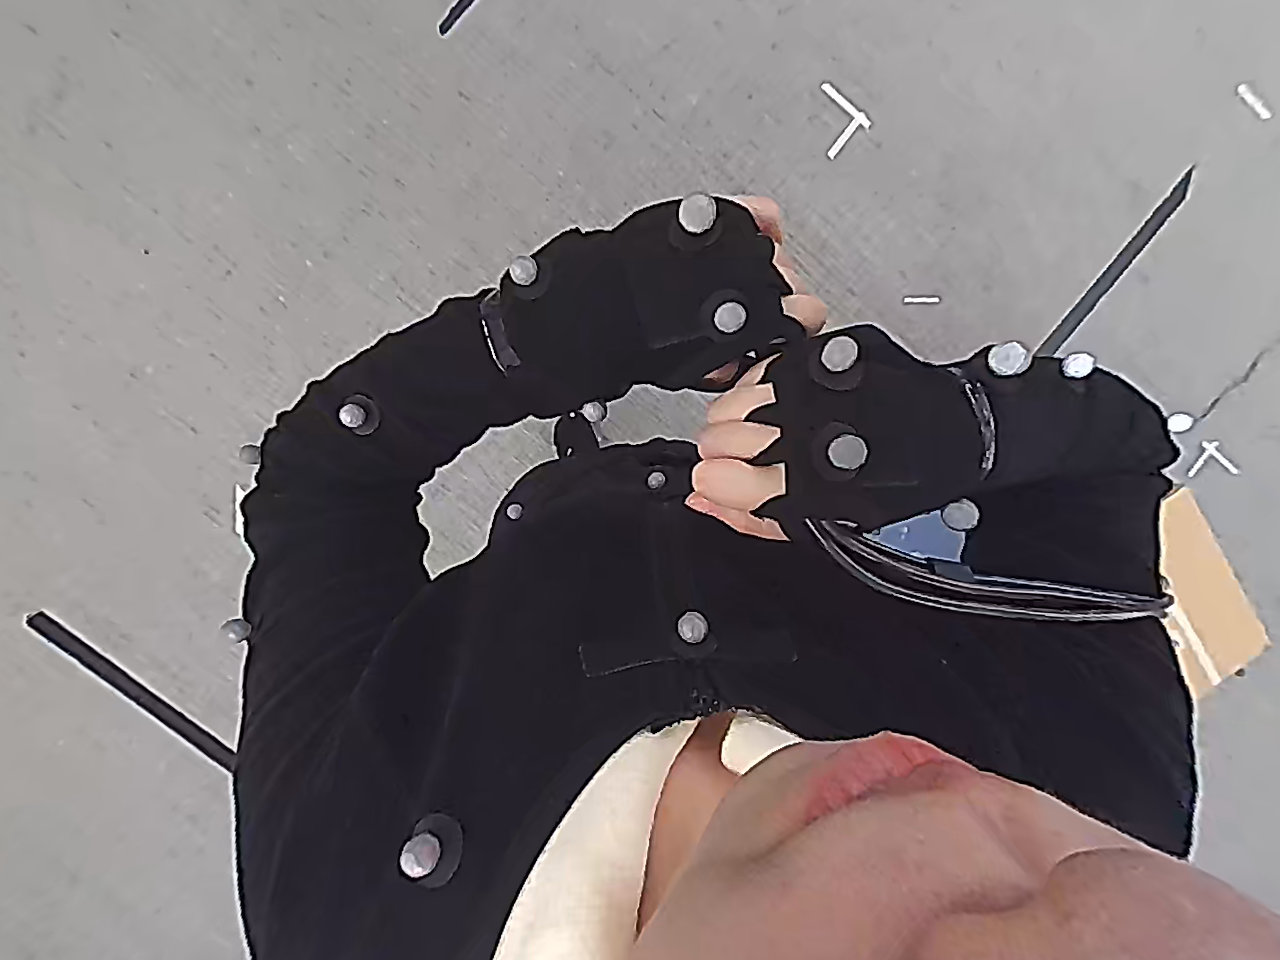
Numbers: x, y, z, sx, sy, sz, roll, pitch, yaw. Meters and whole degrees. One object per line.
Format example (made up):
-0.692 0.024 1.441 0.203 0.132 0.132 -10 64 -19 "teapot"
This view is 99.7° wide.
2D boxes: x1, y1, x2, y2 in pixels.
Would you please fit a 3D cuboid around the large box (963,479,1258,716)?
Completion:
1.071 0.245 1.272 0.320 0.320 0.408 -31 95 -3 "large box"
